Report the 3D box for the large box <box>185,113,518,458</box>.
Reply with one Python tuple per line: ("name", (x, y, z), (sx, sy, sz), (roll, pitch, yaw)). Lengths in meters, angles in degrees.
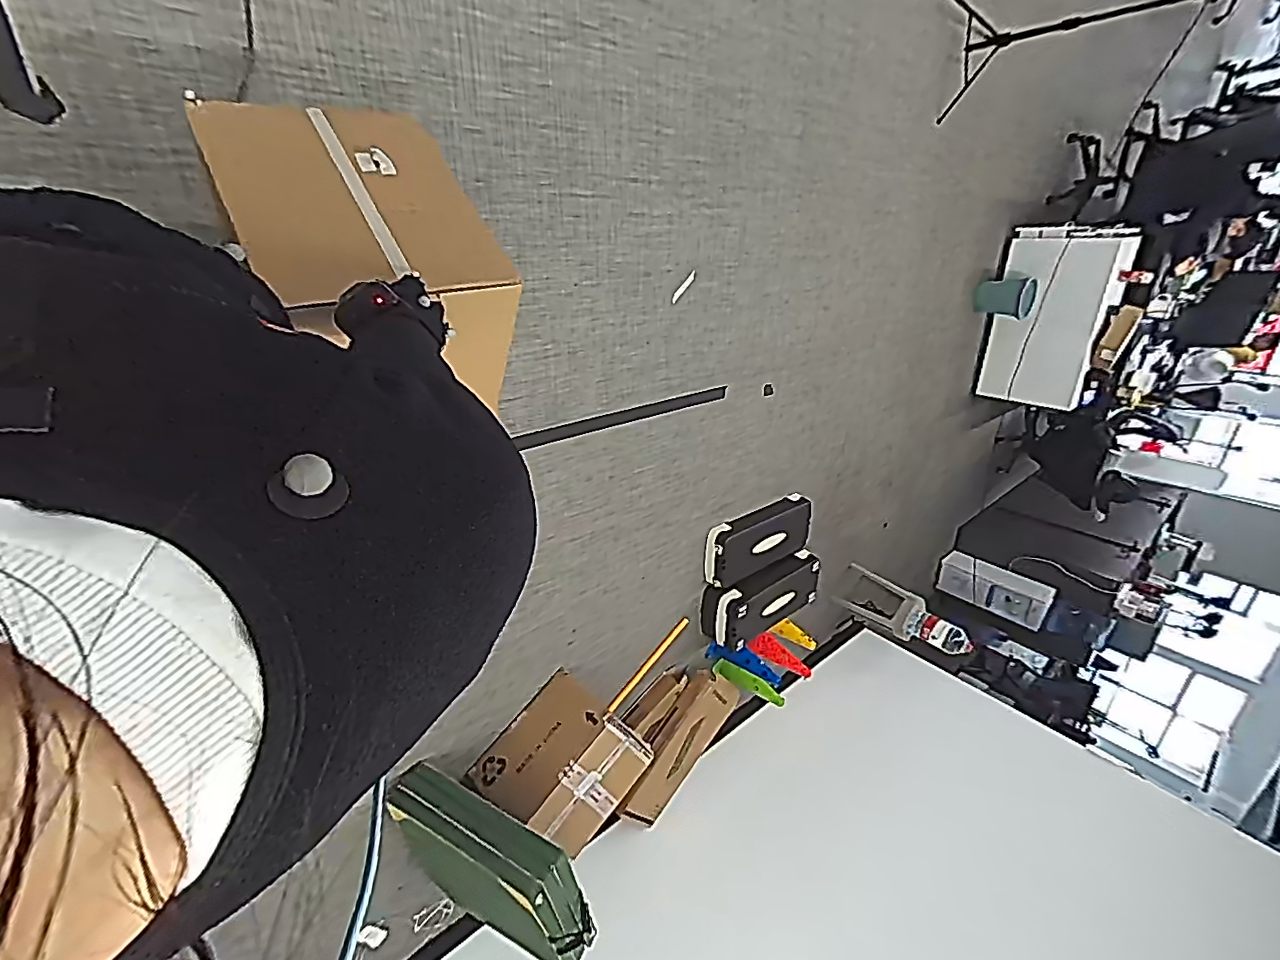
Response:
("large box", (-0.446, -0.310, 0.873), (0.320, 0.408, 0.320), (-21, 157, -34))
